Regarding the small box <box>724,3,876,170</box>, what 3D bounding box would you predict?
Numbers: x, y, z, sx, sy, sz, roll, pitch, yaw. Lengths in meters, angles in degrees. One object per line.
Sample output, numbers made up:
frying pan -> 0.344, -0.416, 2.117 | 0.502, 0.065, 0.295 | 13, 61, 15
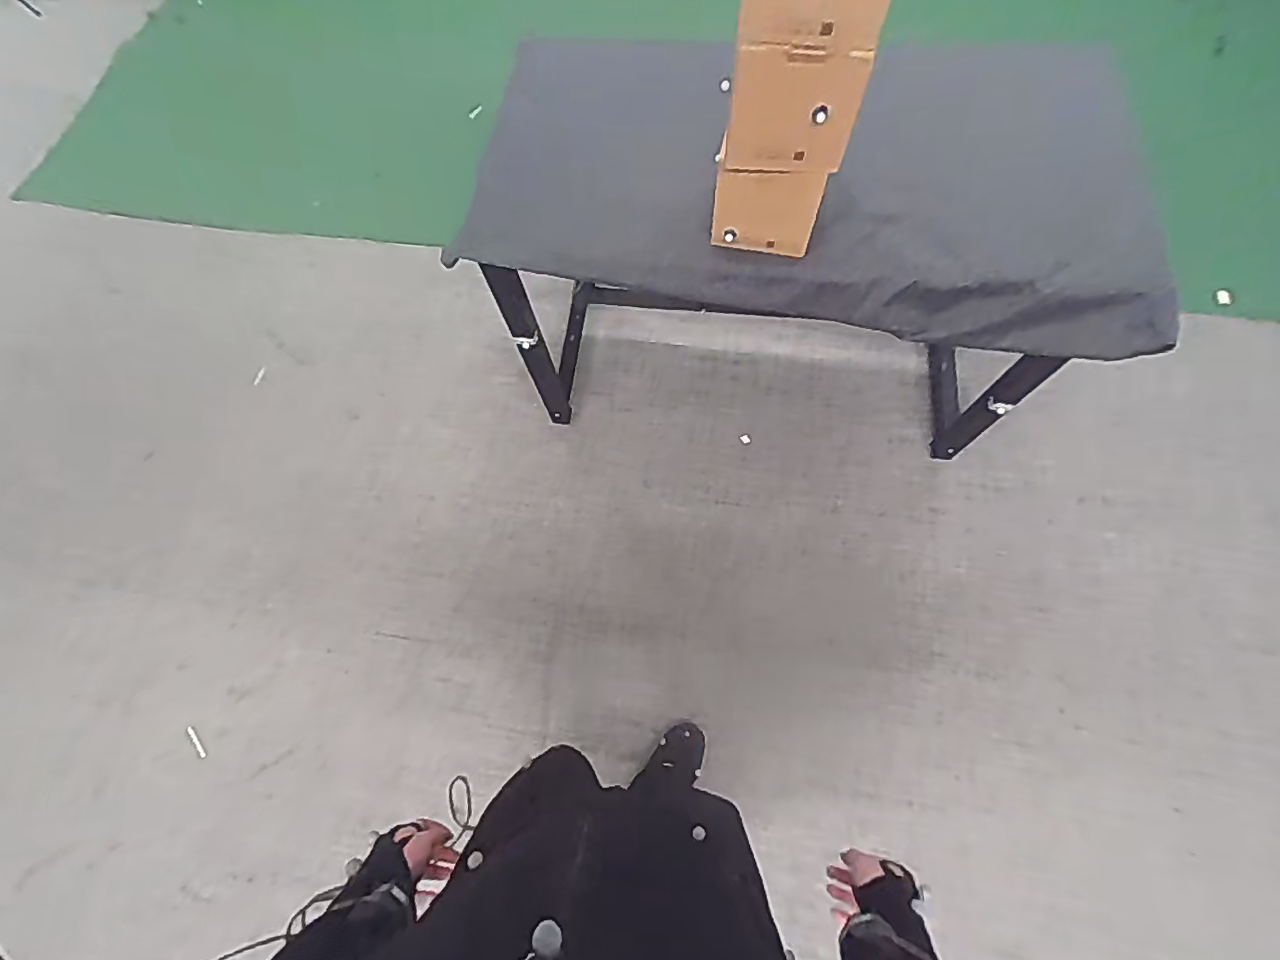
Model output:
small box -> 0.209, -0.559, 0.743 | 0.168, 0.176, 0.179 | 5, 68, 4

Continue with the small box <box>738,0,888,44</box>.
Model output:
small box -> 0.204, -0.621, 0.592 | 0.168, 0.176, 0.179 | 8, 71, 5

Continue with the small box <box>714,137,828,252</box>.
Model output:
small box -> 0.220, -0.509, 0.896 | 0.168, 0.176, 0.179 | 11, 69, 7
